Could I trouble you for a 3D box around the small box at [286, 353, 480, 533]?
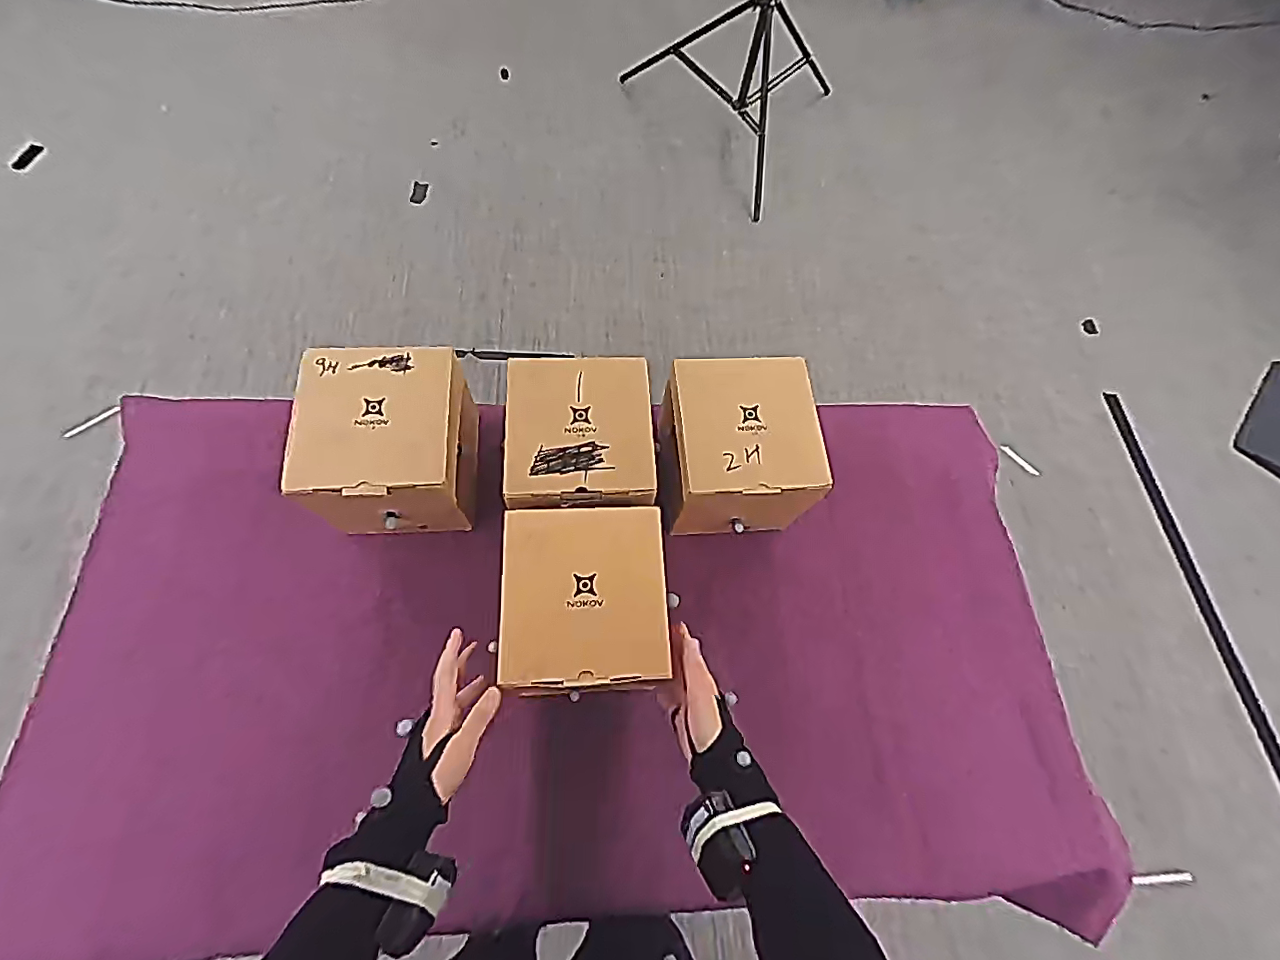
[{"bbox_3d":[-0.297,-0.036,0.665,0.168,0.176,0.179,-2,70,-7],"label":"small box"}]
